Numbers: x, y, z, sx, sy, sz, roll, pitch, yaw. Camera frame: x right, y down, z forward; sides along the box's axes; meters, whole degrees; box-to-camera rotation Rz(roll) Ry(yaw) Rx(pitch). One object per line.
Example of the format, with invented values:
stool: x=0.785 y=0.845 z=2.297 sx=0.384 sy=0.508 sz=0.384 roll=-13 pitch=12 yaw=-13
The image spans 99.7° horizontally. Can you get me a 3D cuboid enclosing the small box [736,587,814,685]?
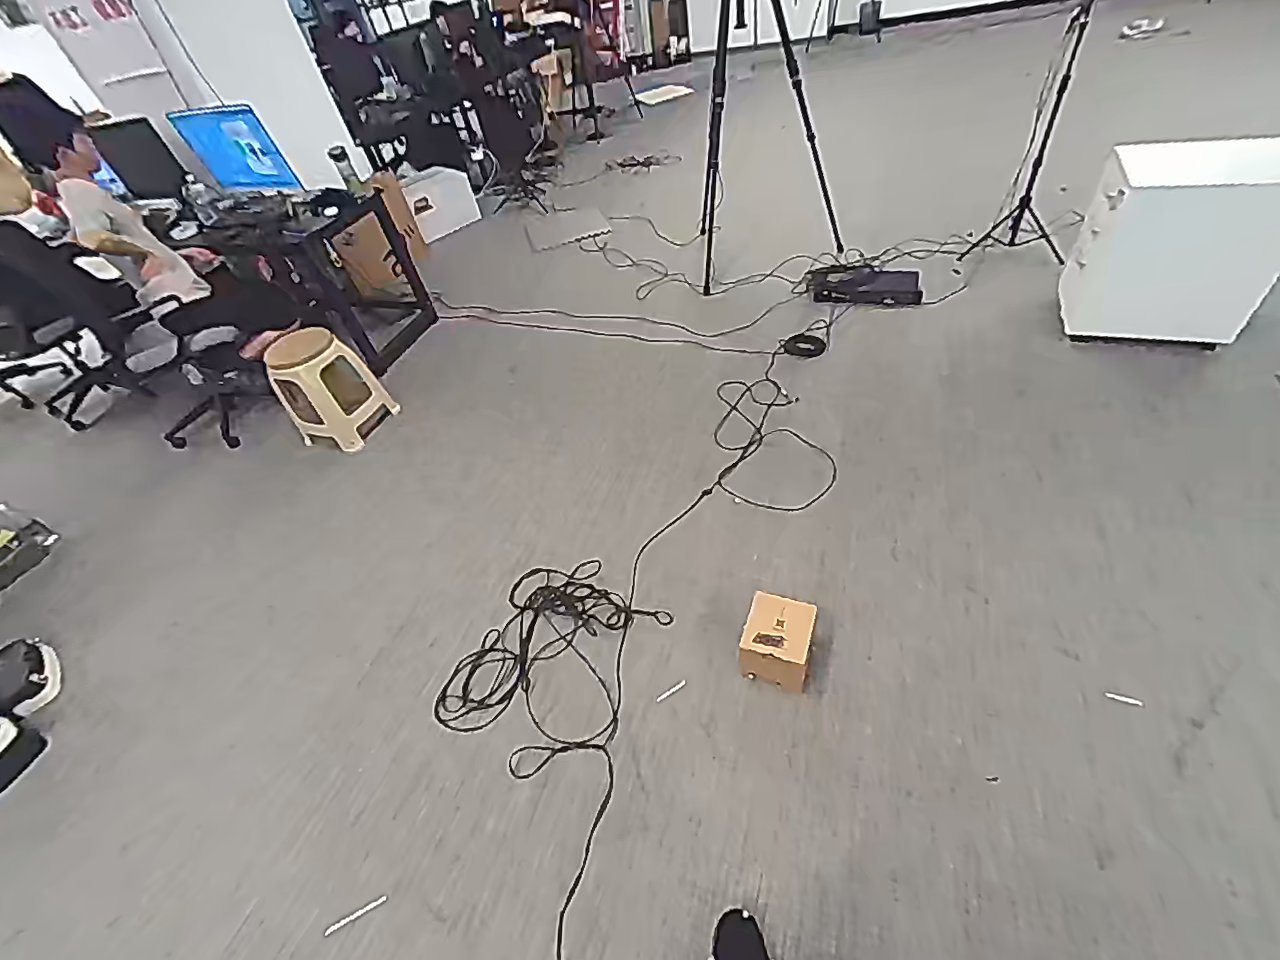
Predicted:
small box: x=0.367 y=0.424 z=1.462 sx=0.168 sy=0.176 sz=0.179 roll=11 pitch=50 yaw=22
